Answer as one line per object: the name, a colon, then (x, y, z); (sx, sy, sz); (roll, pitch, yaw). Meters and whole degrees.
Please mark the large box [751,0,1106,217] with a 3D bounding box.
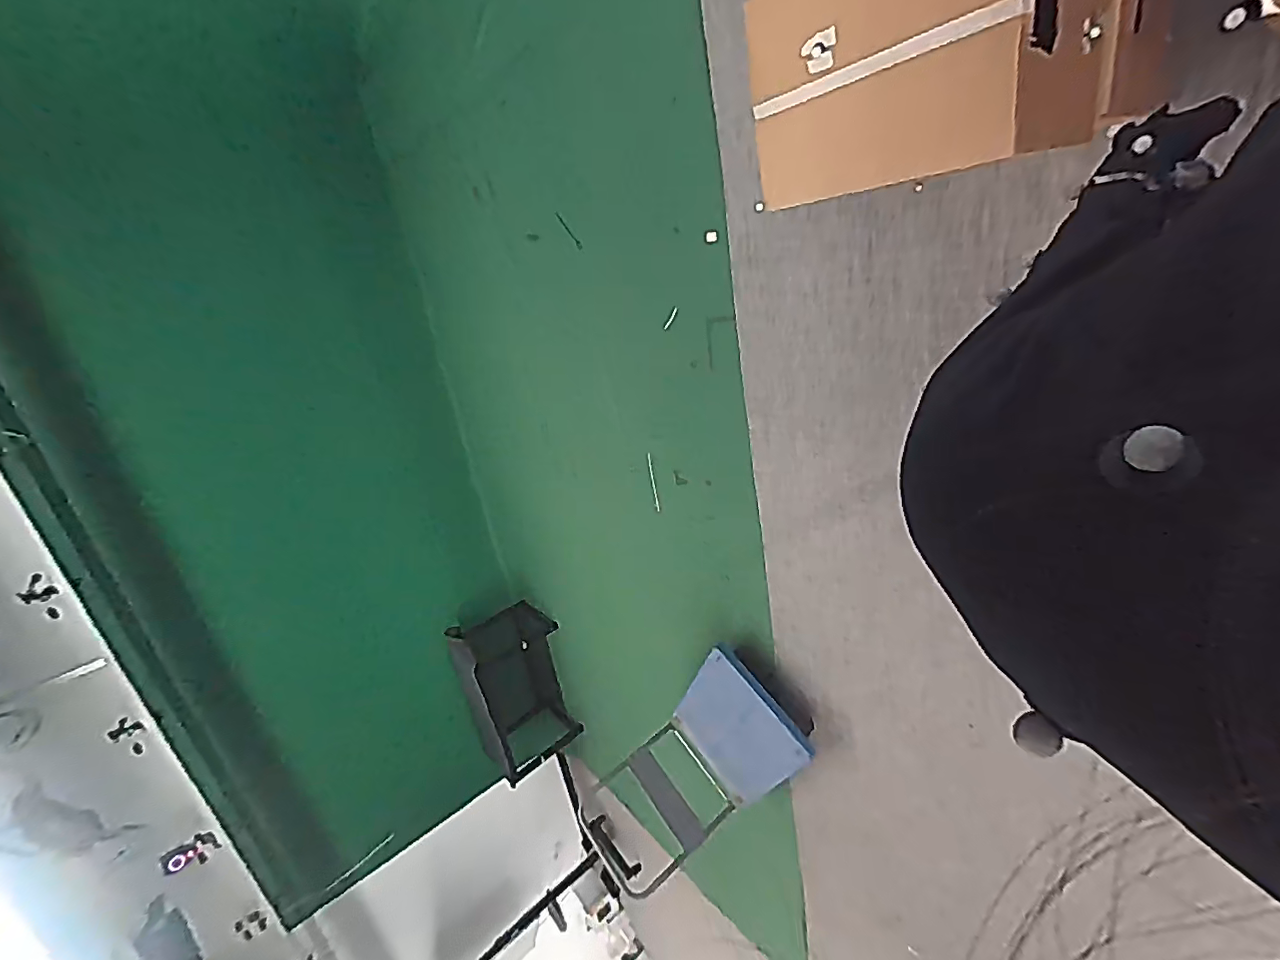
large box: (0.445, -0.643, 0.860); (0.408, 0.320, 0.320); (18, 126, 50)
